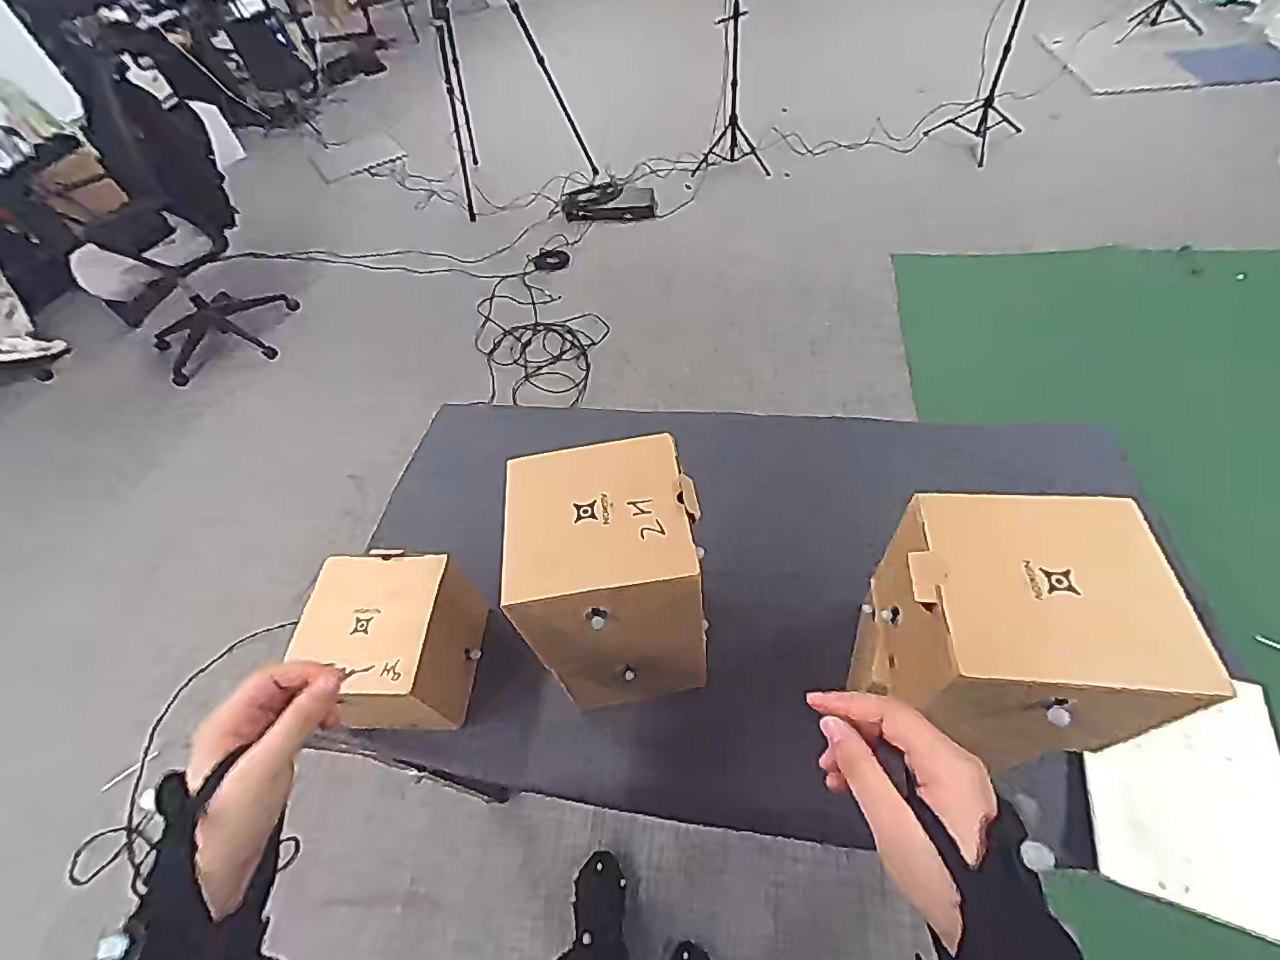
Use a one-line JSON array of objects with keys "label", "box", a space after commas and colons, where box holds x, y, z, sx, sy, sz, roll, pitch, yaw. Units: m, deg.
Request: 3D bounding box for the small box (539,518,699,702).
[{"label": "small box", "box": [-0.024, 0.176, 0.712, 0.179, 0.176, 0.168, -11, 53, -1]}]

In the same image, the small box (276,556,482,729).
[{"label": "small box", "box": [-0.325, 0.218, 0.720, 0.168, 0.176, 0.179, -2, 53, 6]}]

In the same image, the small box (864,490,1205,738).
[{"label": "small box", "box": [0.321, 0.125, 0.492, 0.179, 0.176, 0.168, 0, 52, 10]}]

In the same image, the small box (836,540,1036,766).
[{"label": "small box", "box": [0.339, 0.204, 0.636, 0.168, 0.176, 0.179, 14, 57, 19]}]
